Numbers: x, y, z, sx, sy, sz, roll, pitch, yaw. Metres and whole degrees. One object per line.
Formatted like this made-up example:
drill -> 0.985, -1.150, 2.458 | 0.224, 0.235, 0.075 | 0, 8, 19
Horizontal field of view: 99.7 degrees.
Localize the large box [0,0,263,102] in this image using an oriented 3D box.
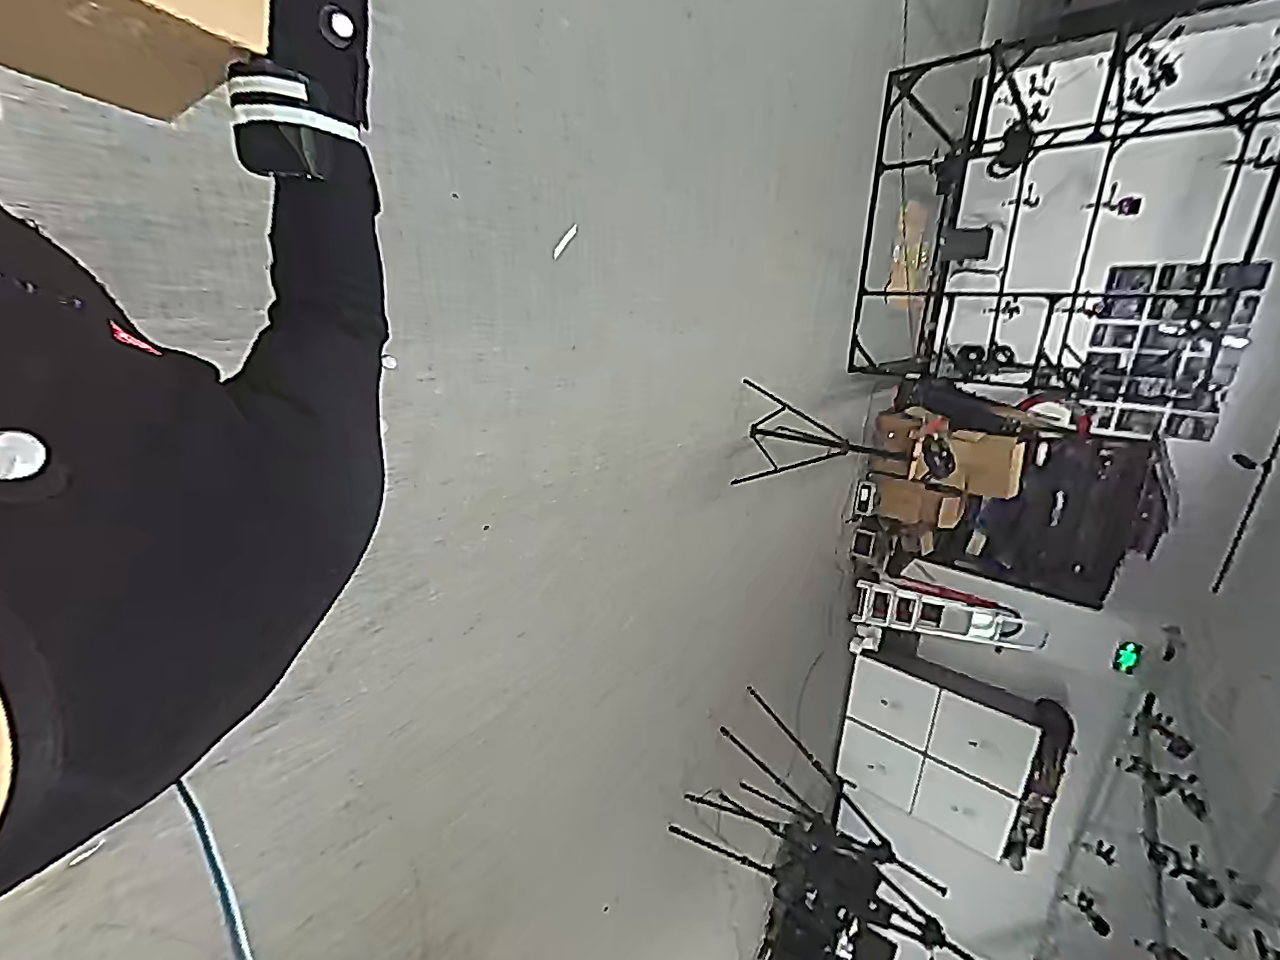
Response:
large box -> -0.474, -0.468, 0.271 | 0.408, 0.320, 0.320 | -6, 110, -50
